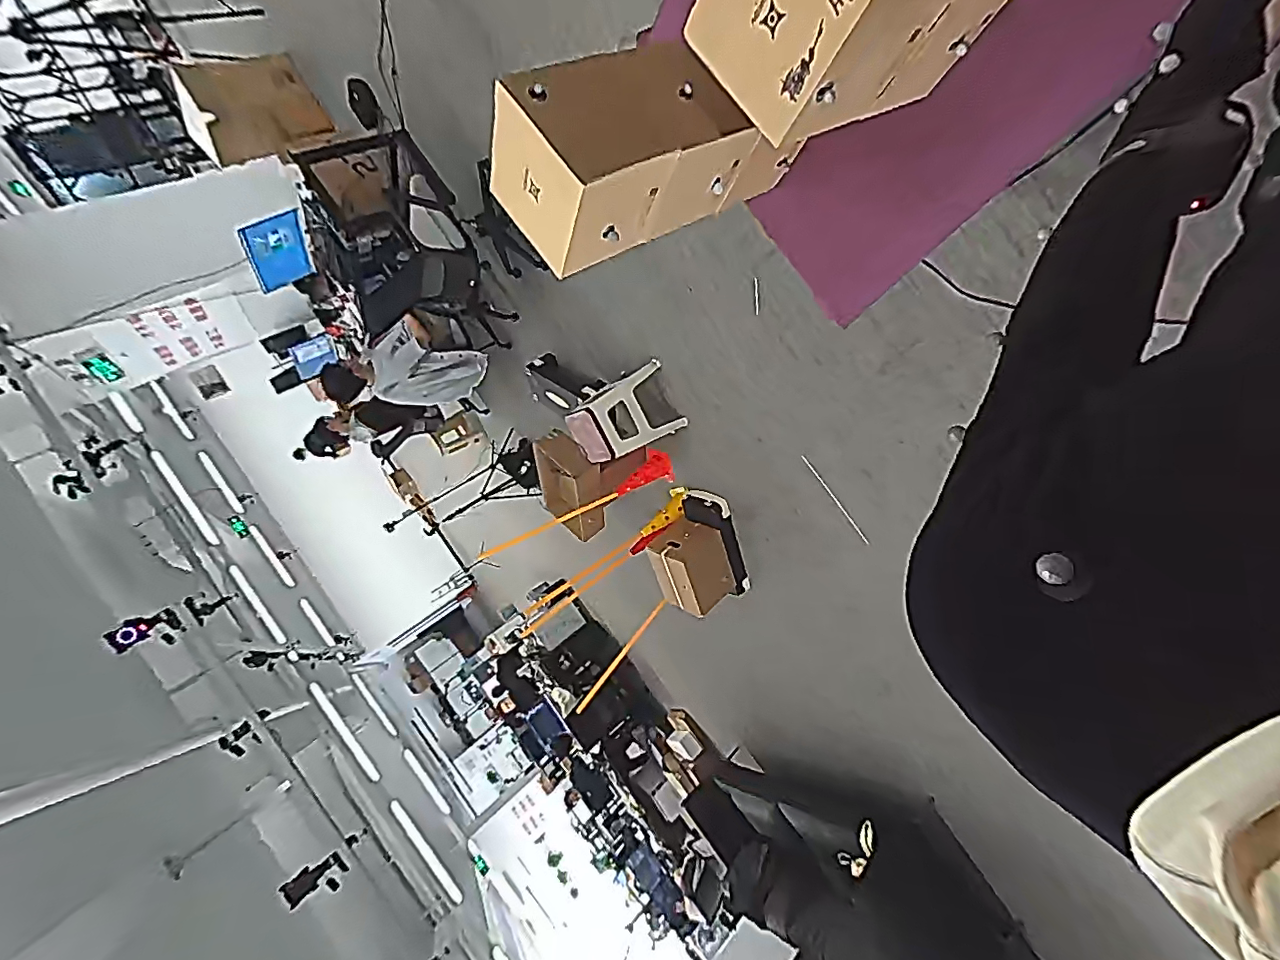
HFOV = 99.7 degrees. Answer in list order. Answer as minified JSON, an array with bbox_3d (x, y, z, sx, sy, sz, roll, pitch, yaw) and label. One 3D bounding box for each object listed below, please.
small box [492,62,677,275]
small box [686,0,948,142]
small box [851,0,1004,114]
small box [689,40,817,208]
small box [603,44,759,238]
[{"bbox_3d":[-0.078,-0.424,0.737,0.179,0.176,0.168,53,154,5],"label":"small box"},{"bbox_3d":[0.186,-0.506,0.571,0.179,0.176,0.168,54,154,4],"label":"small box"},{"bbox_3d":[0.308,-0.588,0.646,0.179,0.176,0.168,53,153,3],"label":"small box"},{"bbox_3d":[0.160,-0.590,0.884,0.179,0.176,0.168,52,153,4],"label":"small box"},{"bbox_3d":[0.040,-0.508,0.810,0.179,0.176,0.168,52,154,4],"label":"small box"}]
